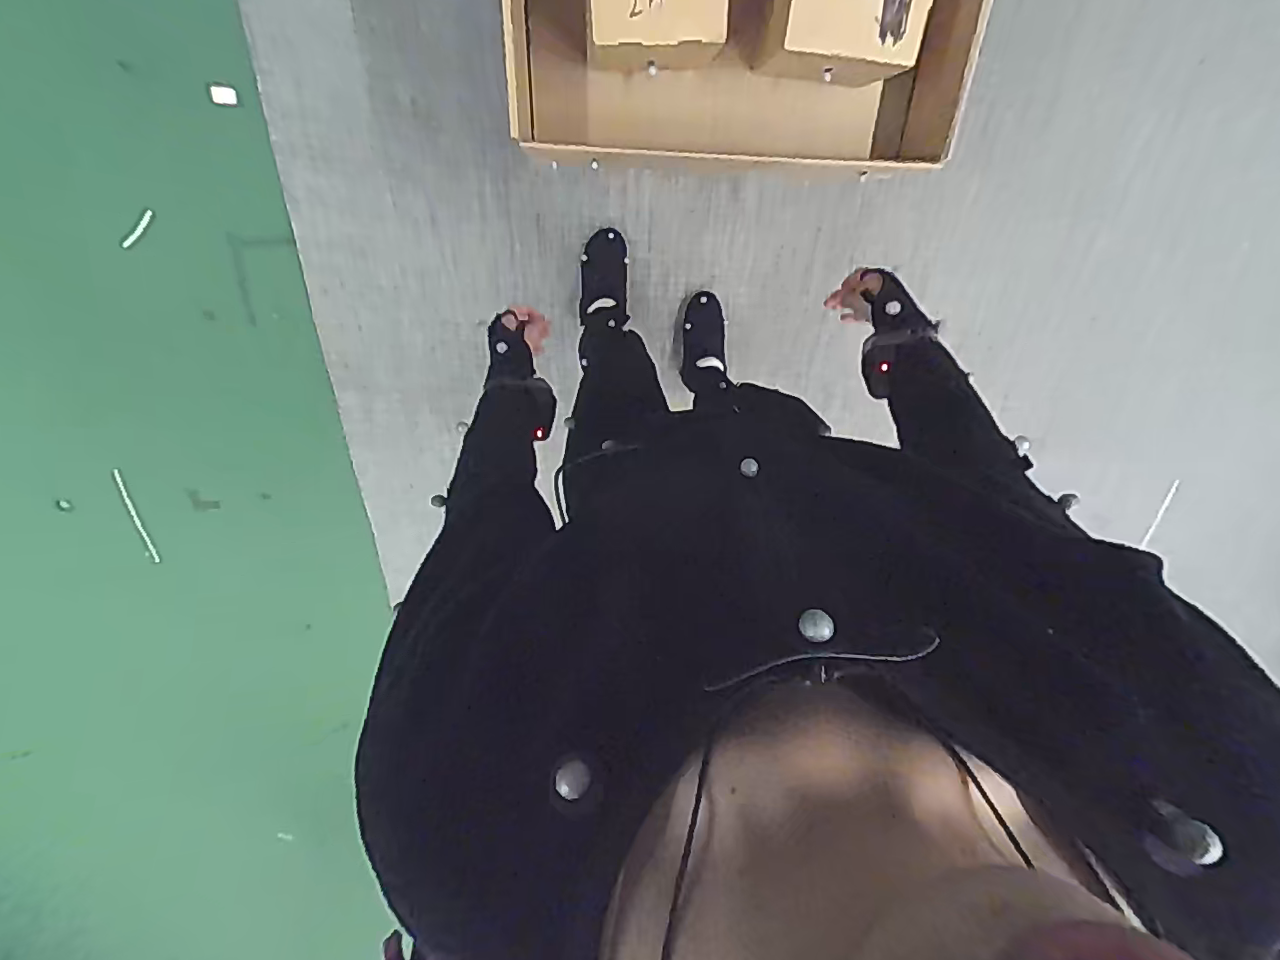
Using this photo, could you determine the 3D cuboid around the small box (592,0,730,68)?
[{"bbox_3d":[0.020,-0.651,0.687,0.168,0.176,0.179,-3,118,-2],"label":"small box"}]
